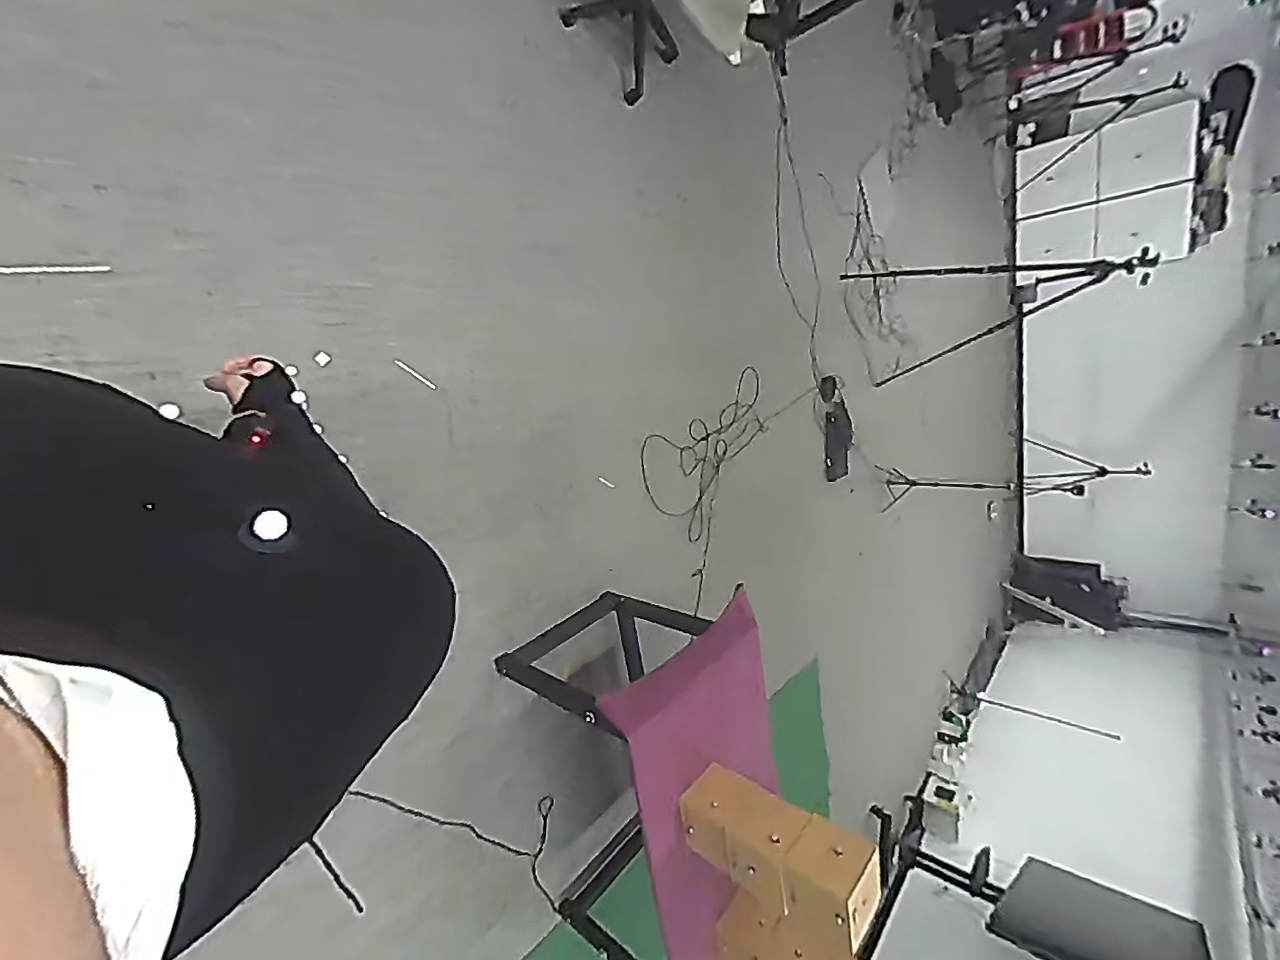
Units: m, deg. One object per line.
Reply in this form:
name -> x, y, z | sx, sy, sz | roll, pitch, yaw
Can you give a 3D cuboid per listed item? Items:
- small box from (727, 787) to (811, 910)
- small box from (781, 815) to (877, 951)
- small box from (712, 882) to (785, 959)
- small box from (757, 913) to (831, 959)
small box -> 0.345, 0.973, 1.444 | 0.179, 0.176, 0.168 | -20, 108, -43
small box -> 0.468, 0.980, 1.336 | 0.179, 0.176, 0.168 | -22, 108, -43
small box -> 0.352, 1.447, 1.726 | 0.179, 0.176, 0.168 | -19, 105, -43
small box -> 0.457, 1.455, 1.601 | 0.179, 0.176, 0.168 | -24, 108, -44
